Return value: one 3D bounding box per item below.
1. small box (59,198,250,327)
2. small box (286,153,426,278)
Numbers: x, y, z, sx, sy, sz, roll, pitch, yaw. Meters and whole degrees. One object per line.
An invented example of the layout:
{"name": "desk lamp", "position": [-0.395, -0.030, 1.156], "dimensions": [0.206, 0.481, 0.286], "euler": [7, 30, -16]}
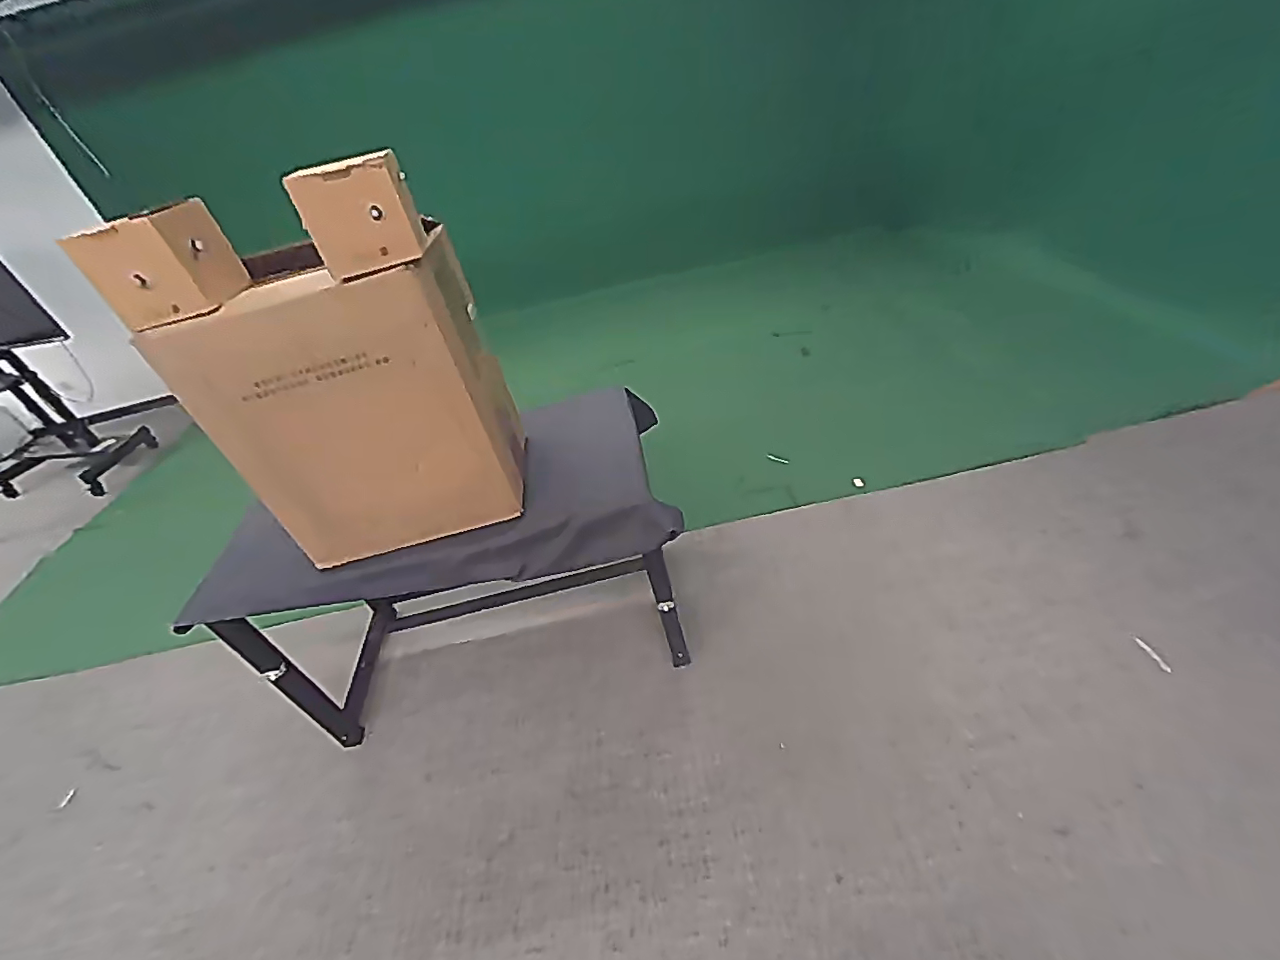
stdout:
{"name": "small box", "position": [-0.885, -0.403, 1.013], "dimensions": [0.168, 0.176, 0.179], "euler": [-14, 38, 1]}
{"name": "small box", "position": [-0.510, -0.488, 1.002], "dimensions": [0.168, 0.176, 0.179], "euler": [-17, 36, -8]}
